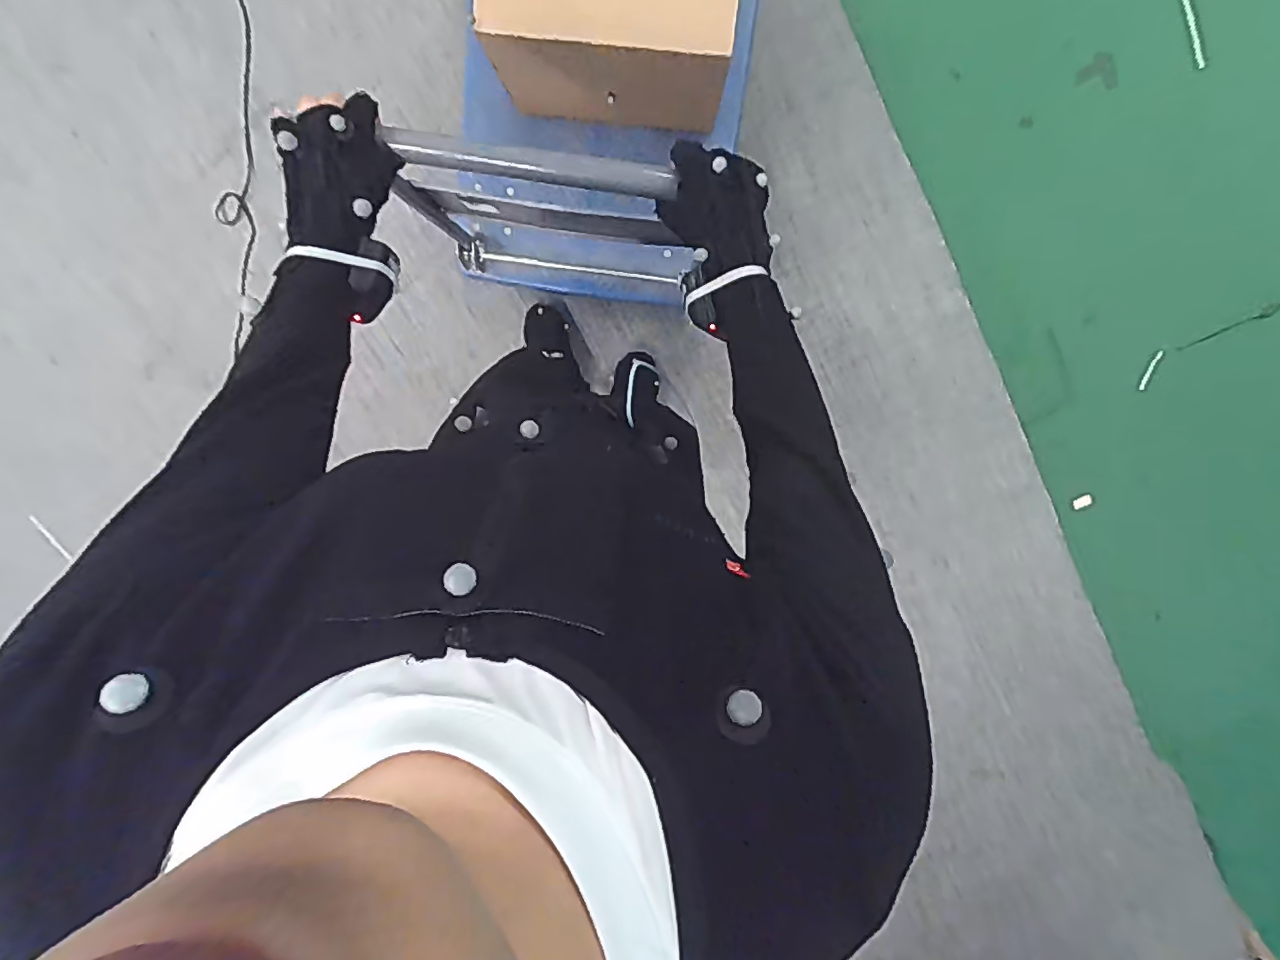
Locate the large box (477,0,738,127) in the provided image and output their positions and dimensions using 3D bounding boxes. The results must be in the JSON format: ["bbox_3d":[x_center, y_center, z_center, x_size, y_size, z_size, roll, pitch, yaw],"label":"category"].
[{"bbox_3d":[-0.037,-0.857,0.946,0.408,0.320,0.320,6,103,0],"label":"large box"}]
